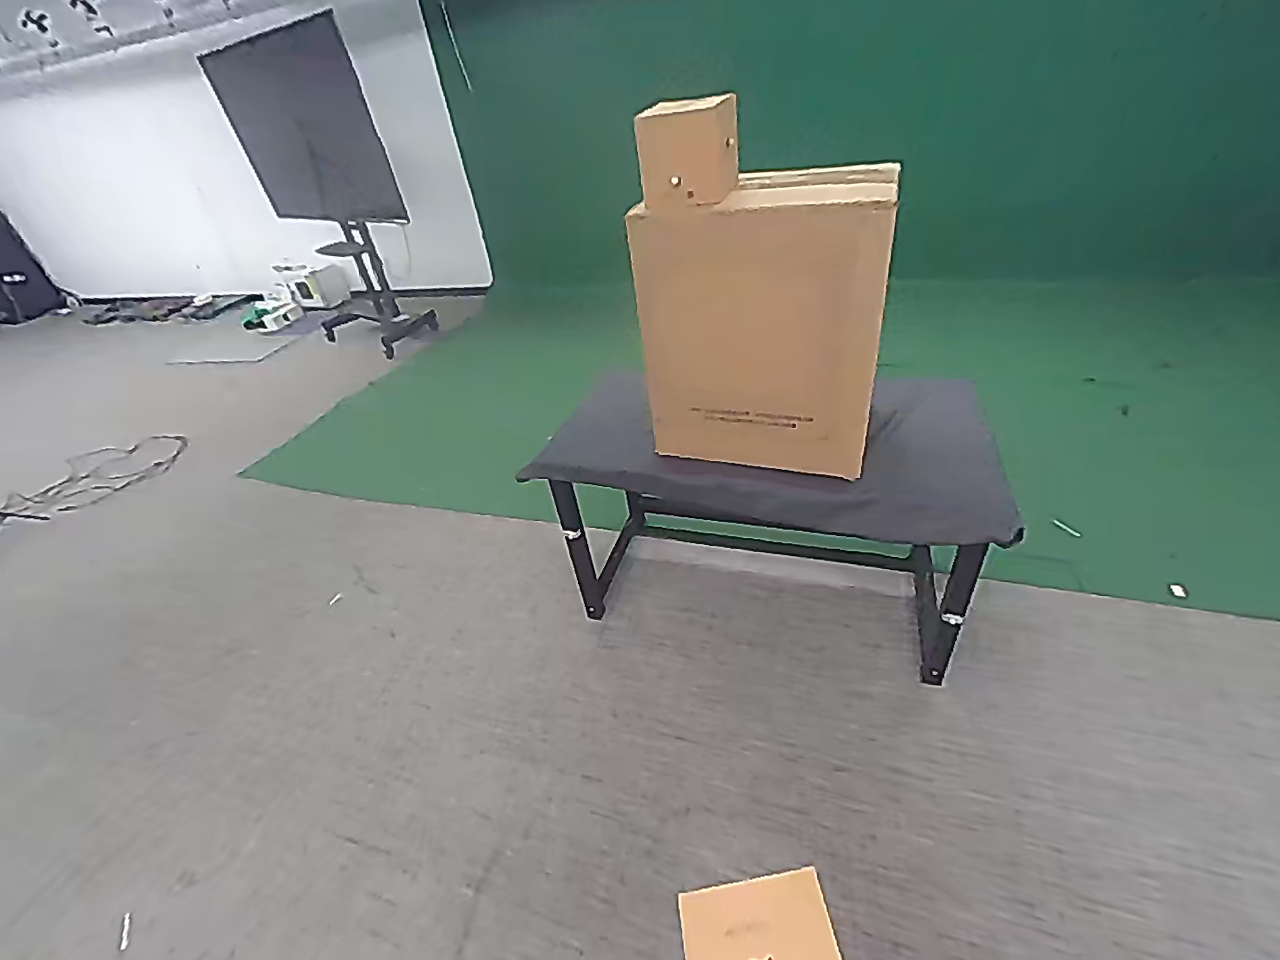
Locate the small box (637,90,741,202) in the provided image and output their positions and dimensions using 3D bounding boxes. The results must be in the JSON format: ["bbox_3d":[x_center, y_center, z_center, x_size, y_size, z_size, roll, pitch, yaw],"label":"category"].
[{"bbox_3d":[0.109,-0.689,1.122,0.168,0.176,0.179,9,42,23],"label":"small box"}]

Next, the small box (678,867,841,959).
[{"bbox_3d":[0.151,0.579,0.608,0.168,0.176,0.179,-15,36,4],"label":"small box"}]
